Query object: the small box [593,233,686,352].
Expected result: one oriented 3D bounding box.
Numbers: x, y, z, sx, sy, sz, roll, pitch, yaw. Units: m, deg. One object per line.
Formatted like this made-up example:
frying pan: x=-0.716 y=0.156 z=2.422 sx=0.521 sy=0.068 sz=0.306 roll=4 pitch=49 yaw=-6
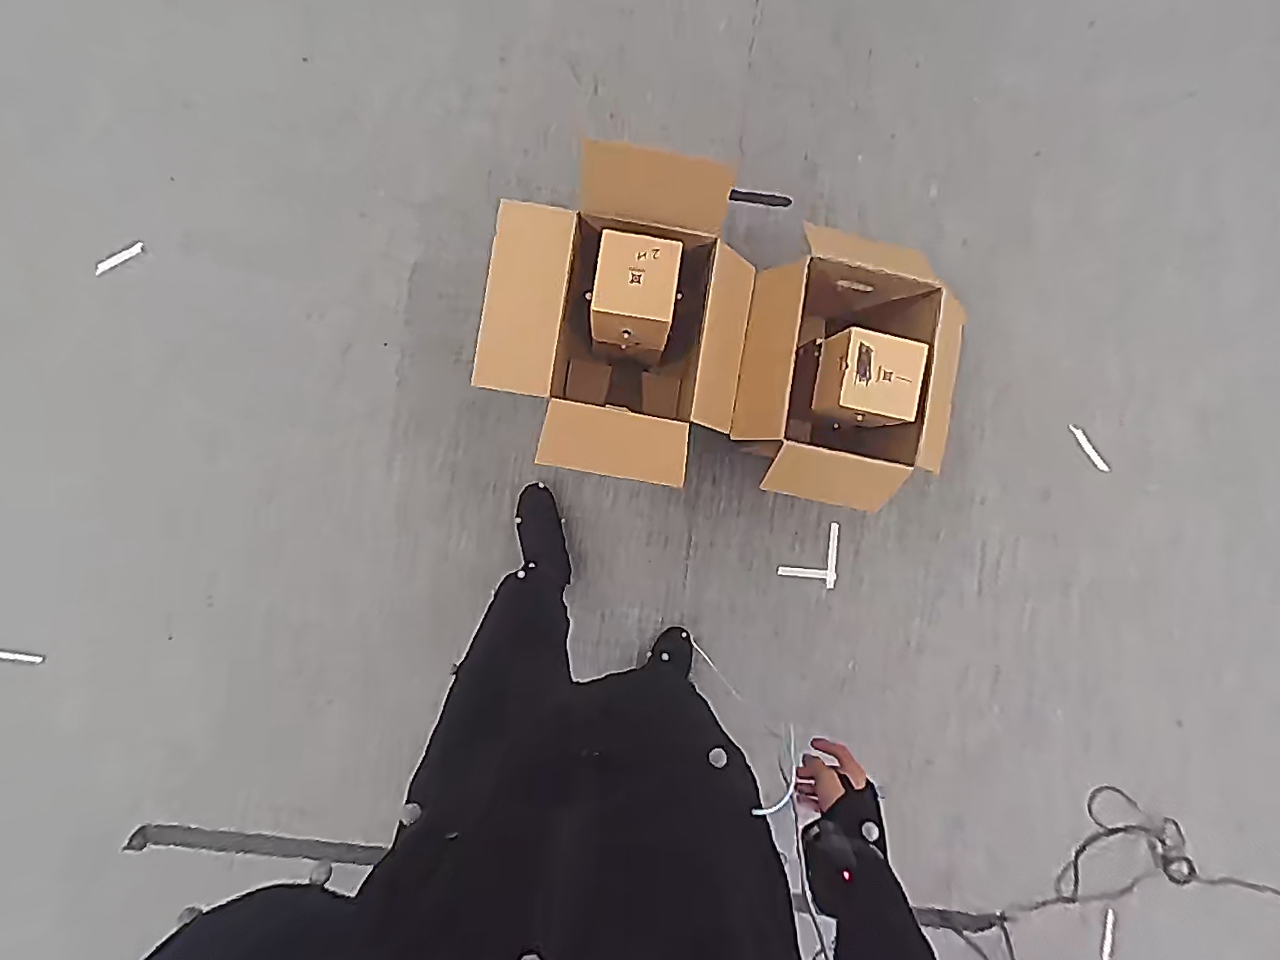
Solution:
small box: x=-0.004 y=-0.391 z=1.157 sx=0.168 sy=0.176 sz=0.179 roll=9 pitch=83 yaw=-3
